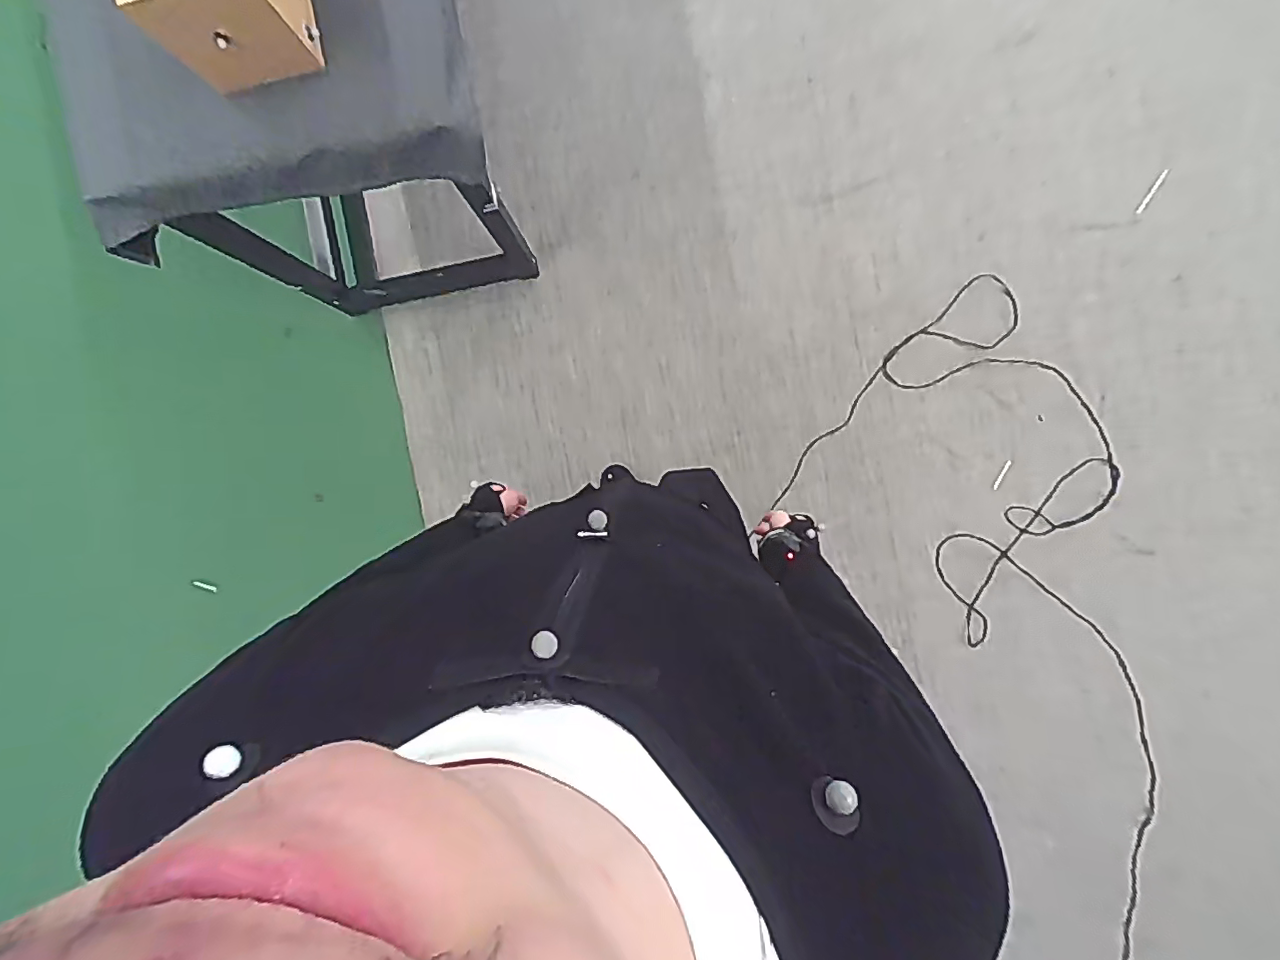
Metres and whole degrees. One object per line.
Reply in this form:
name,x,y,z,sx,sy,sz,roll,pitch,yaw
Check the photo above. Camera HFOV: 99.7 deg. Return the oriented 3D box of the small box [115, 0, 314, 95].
small box,-0.597,-0.695,0.766,0.179,0.176,0.168,-12,90,2
